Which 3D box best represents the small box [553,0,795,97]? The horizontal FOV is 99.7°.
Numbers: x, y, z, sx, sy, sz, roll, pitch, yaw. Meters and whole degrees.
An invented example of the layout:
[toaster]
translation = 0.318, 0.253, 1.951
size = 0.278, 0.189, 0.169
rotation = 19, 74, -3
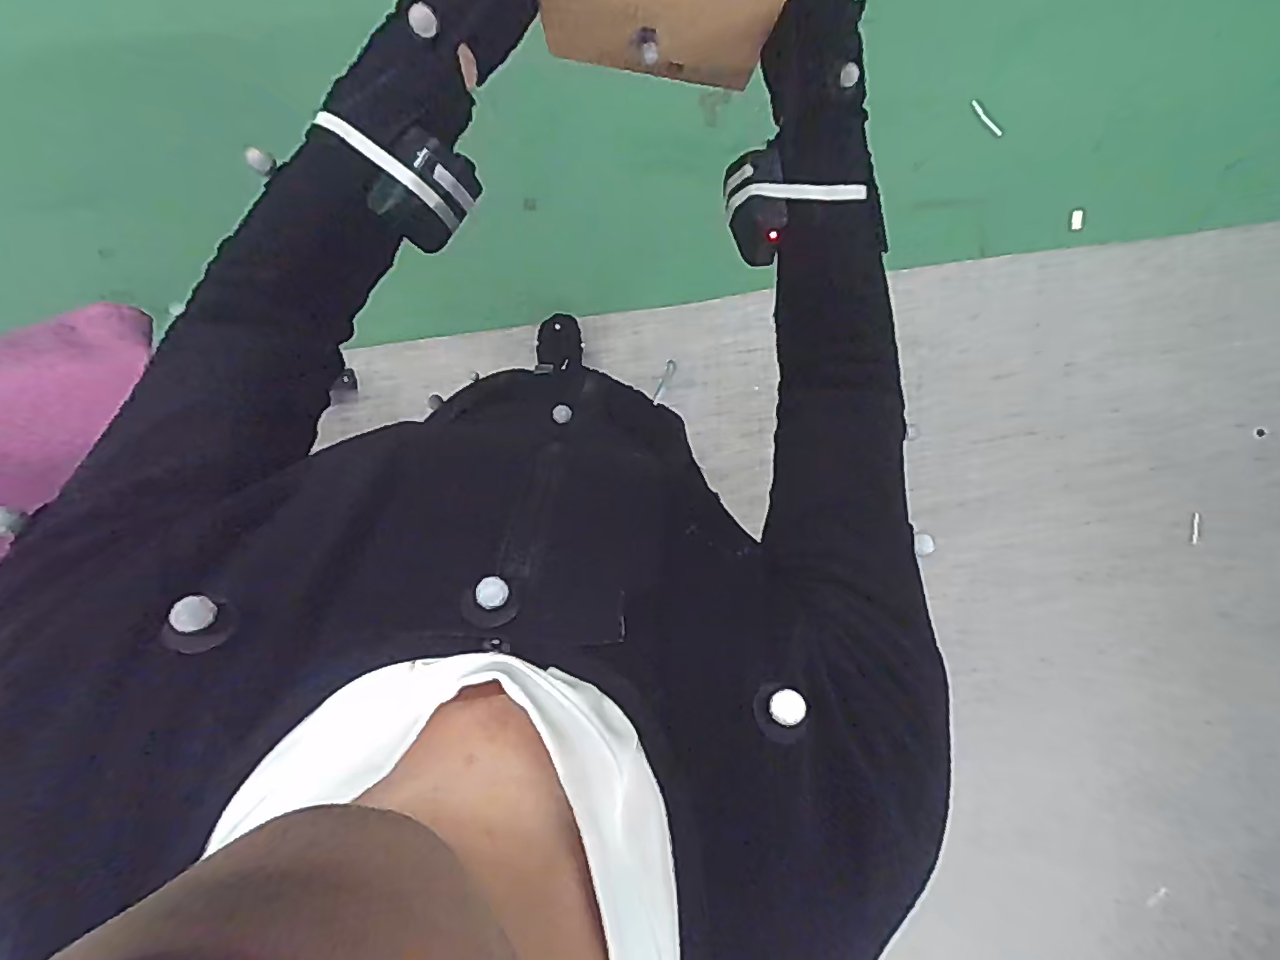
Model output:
[small box]
translation = 0.028, -0.401, 0.357
size = 0.168, 0.176, 0.179
rotation = 9, 102, -4
